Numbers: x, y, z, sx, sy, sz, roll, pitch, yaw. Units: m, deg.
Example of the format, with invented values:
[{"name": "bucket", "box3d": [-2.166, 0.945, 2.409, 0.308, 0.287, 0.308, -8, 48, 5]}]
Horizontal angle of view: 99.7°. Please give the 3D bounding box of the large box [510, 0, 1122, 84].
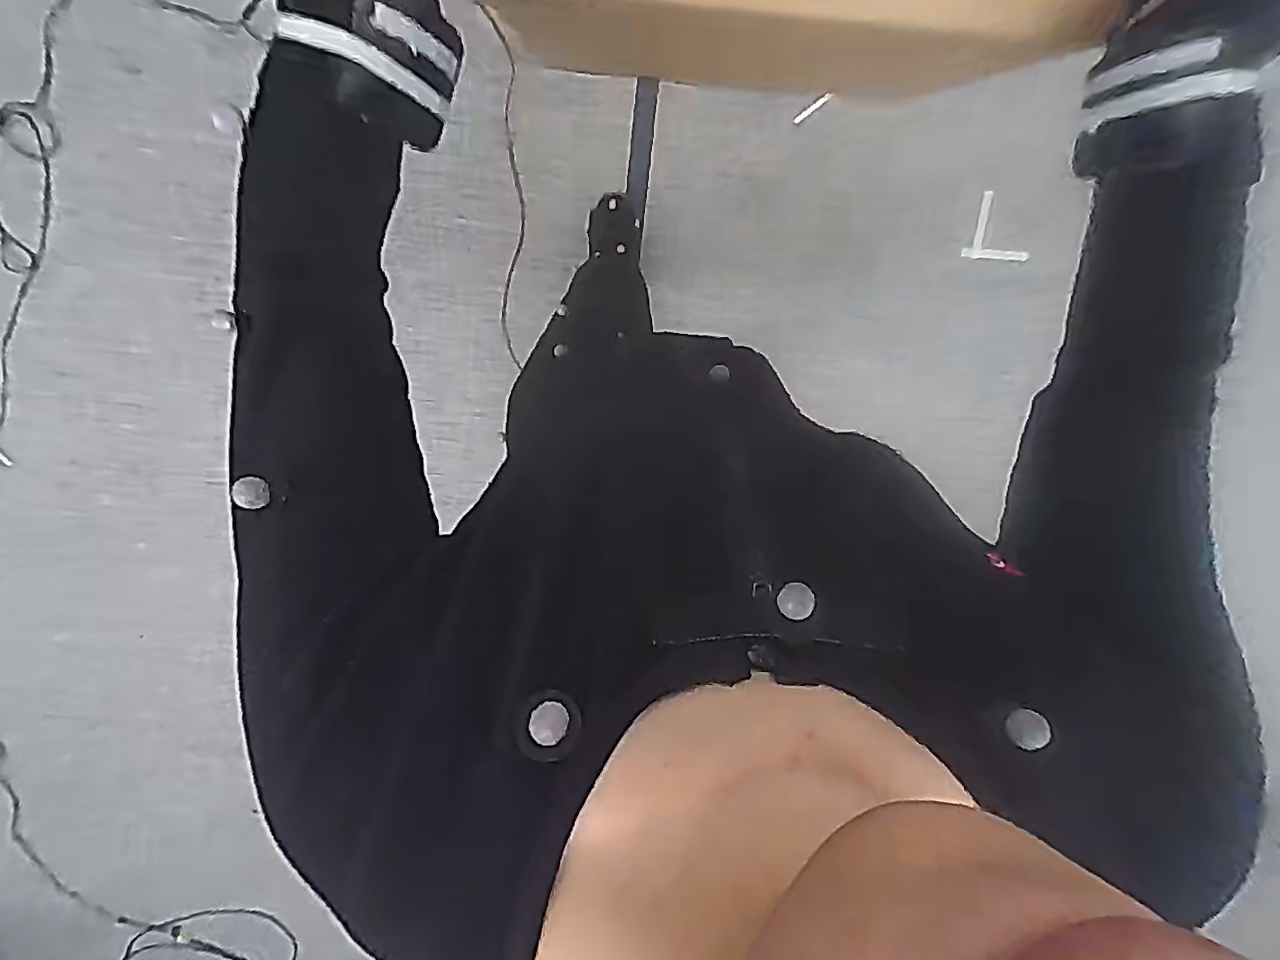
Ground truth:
[{"name": "large box", "box3d": [0.104, -0.501, 0.382, 0.408, 0.320, 0.320, 2, 120, -3]}]
